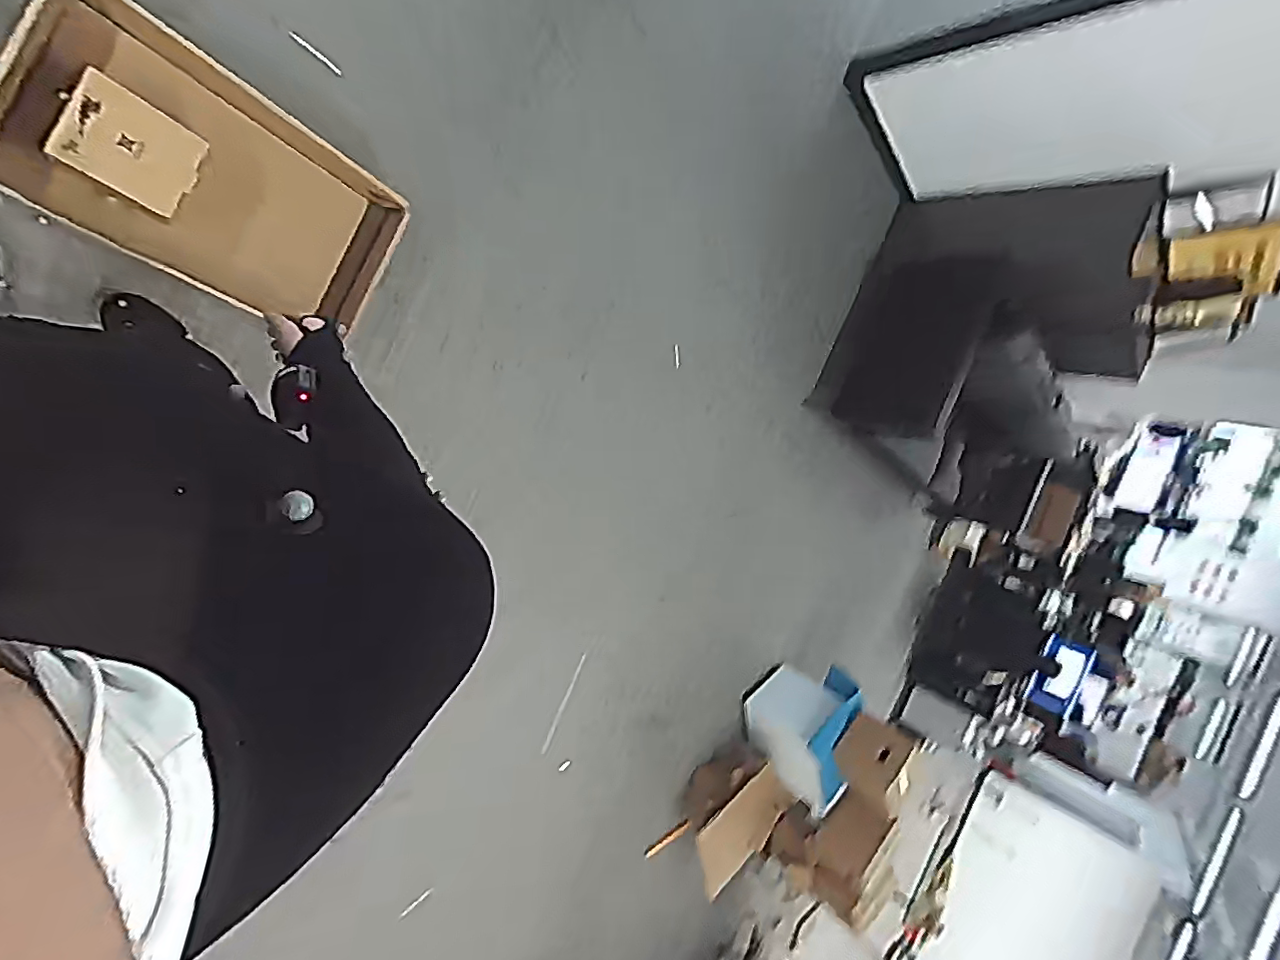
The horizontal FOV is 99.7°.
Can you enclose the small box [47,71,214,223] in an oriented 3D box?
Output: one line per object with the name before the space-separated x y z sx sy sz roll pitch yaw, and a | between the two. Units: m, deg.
small box | -0.946 -0.608 1.013 0.179 0.176 0.168 29 85 -46
